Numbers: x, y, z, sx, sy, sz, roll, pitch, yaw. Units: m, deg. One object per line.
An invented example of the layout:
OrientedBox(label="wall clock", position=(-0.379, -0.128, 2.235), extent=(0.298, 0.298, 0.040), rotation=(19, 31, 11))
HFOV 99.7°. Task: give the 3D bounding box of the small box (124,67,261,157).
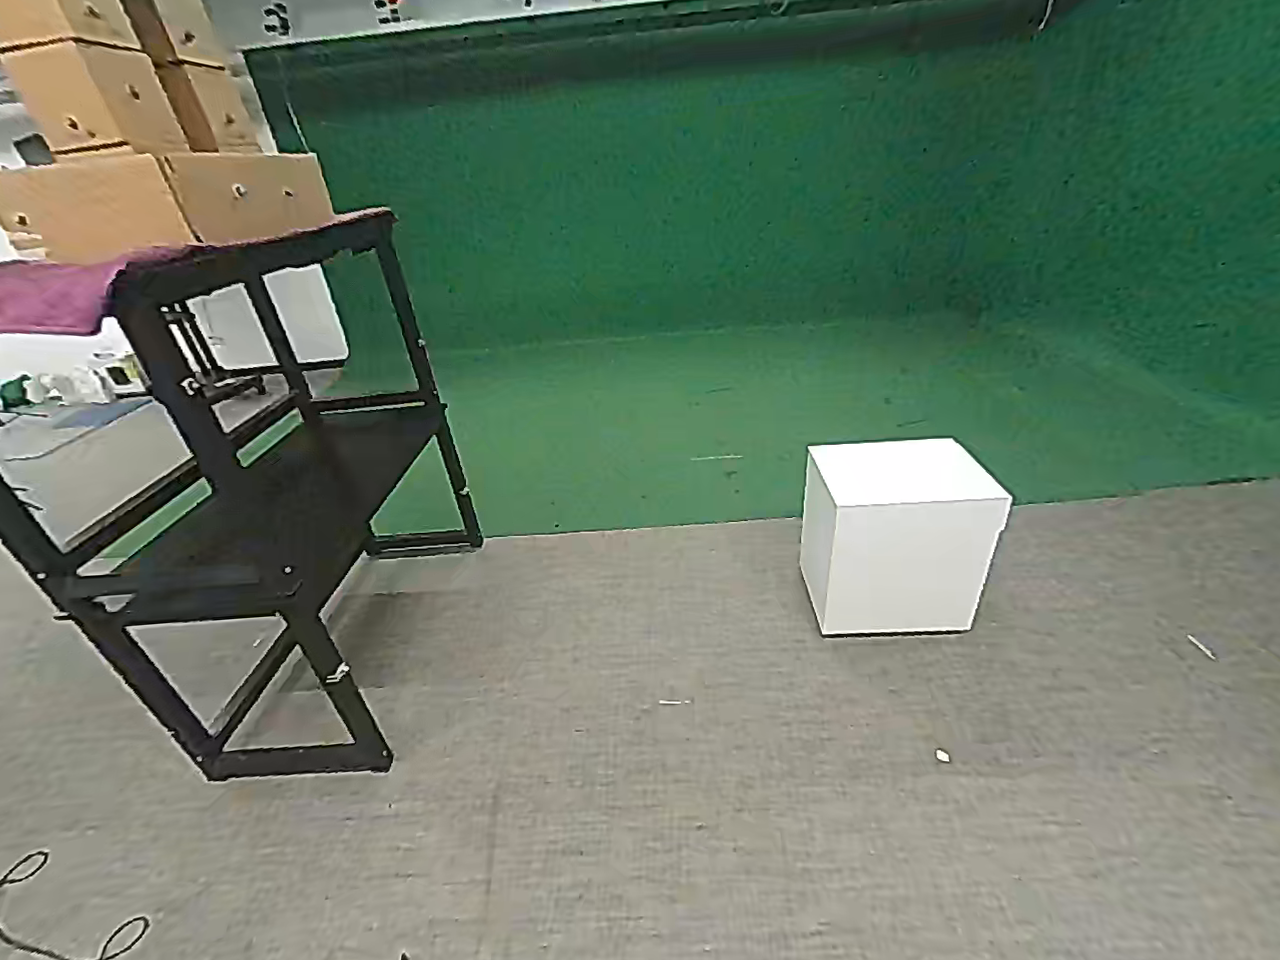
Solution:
OrientedBox(label="small box", position=(-1.134, -0.936, 1.385), extent=(0.179, 0.176, 0.168), rotation=(-4, 32, 5))

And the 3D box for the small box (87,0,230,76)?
OrientedBox(label="small box", position=(-1.146, -1.067, 1.289), extent=(0.179, 0.176, 0.168), rotation=(-3, 32, 5))
